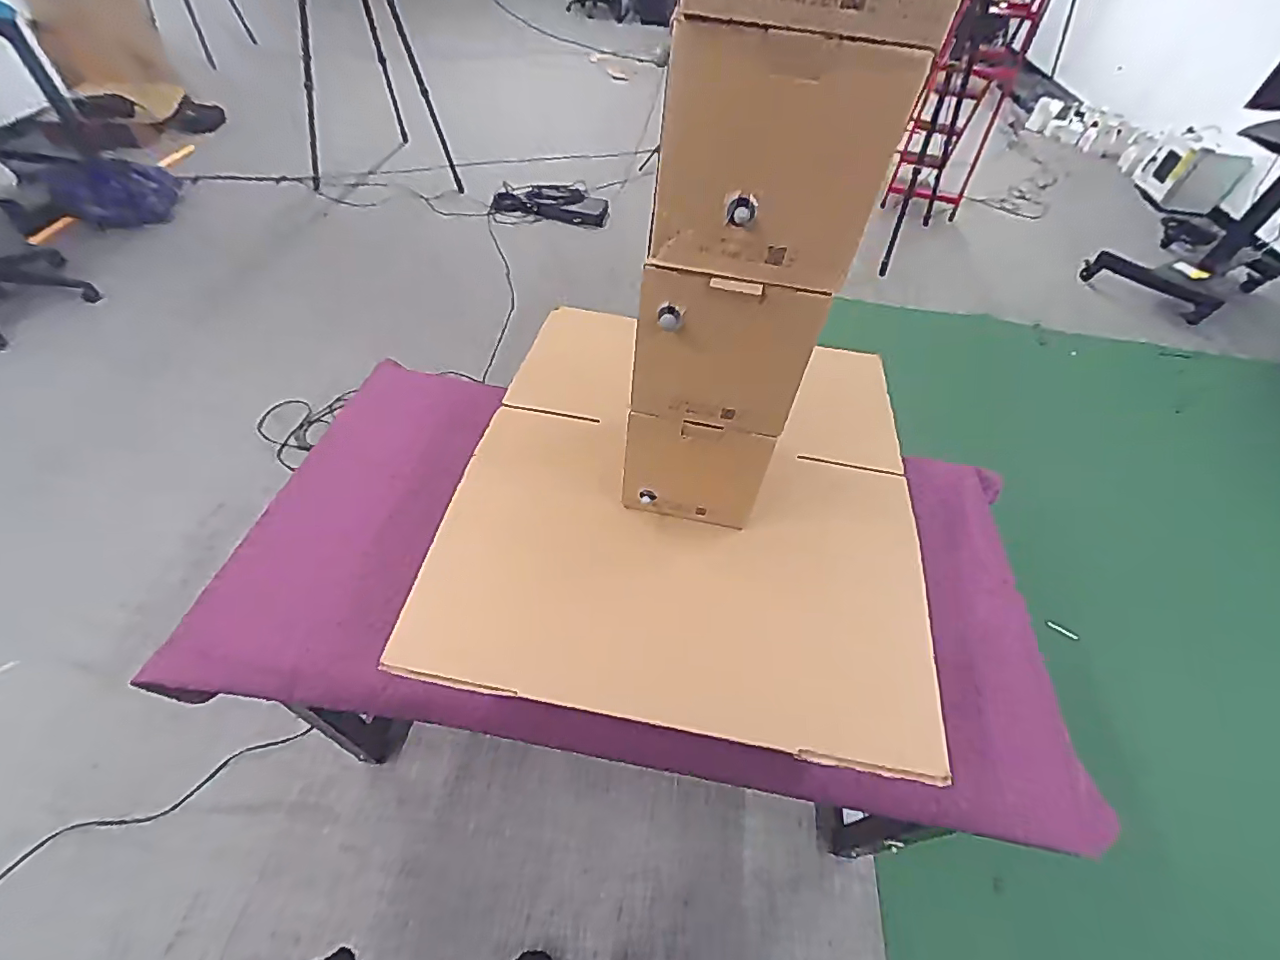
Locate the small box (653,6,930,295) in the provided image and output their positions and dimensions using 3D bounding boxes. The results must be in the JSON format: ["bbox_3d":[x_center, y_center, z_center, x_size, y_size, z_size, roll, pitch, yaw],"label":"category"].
[{"bbox_3d":[0.107,-0.284,0.455,0.168,0.176,0.179,10,49,2],"label":"small box"}]

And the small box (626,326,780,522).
[{"bbox_3d":[0.077,-0.069,0.700,0.168,0.176,0.179,11,49,3],"label":"small box"}]

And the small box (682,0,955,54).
[{"bbox_3d":[0.121,-0.390,0.330,0.168,0.176,0.179,8,49,1],"label":"small box"}]
